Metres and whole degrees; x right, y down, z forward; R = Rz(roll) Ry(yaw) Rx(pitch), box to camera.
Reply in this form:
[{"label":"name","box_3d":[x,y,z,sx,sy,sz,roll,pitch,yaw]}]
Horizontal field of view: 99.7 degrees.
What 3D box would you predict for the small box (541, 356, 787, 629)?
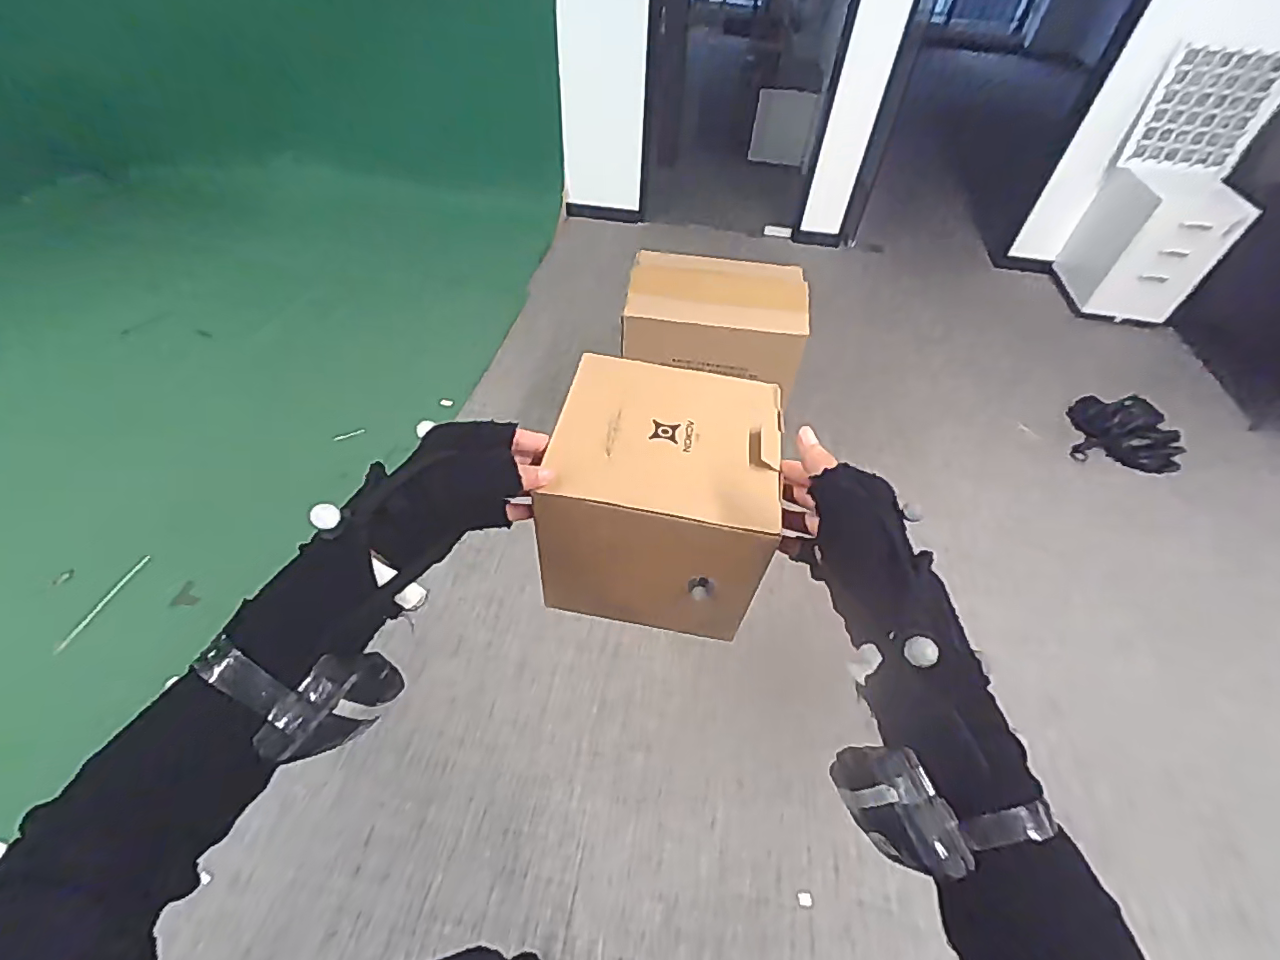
[{"label":"small box","box_3d":[0.021,0.016,0.485,0.179,0.176,0.168,9,48,2]}]
